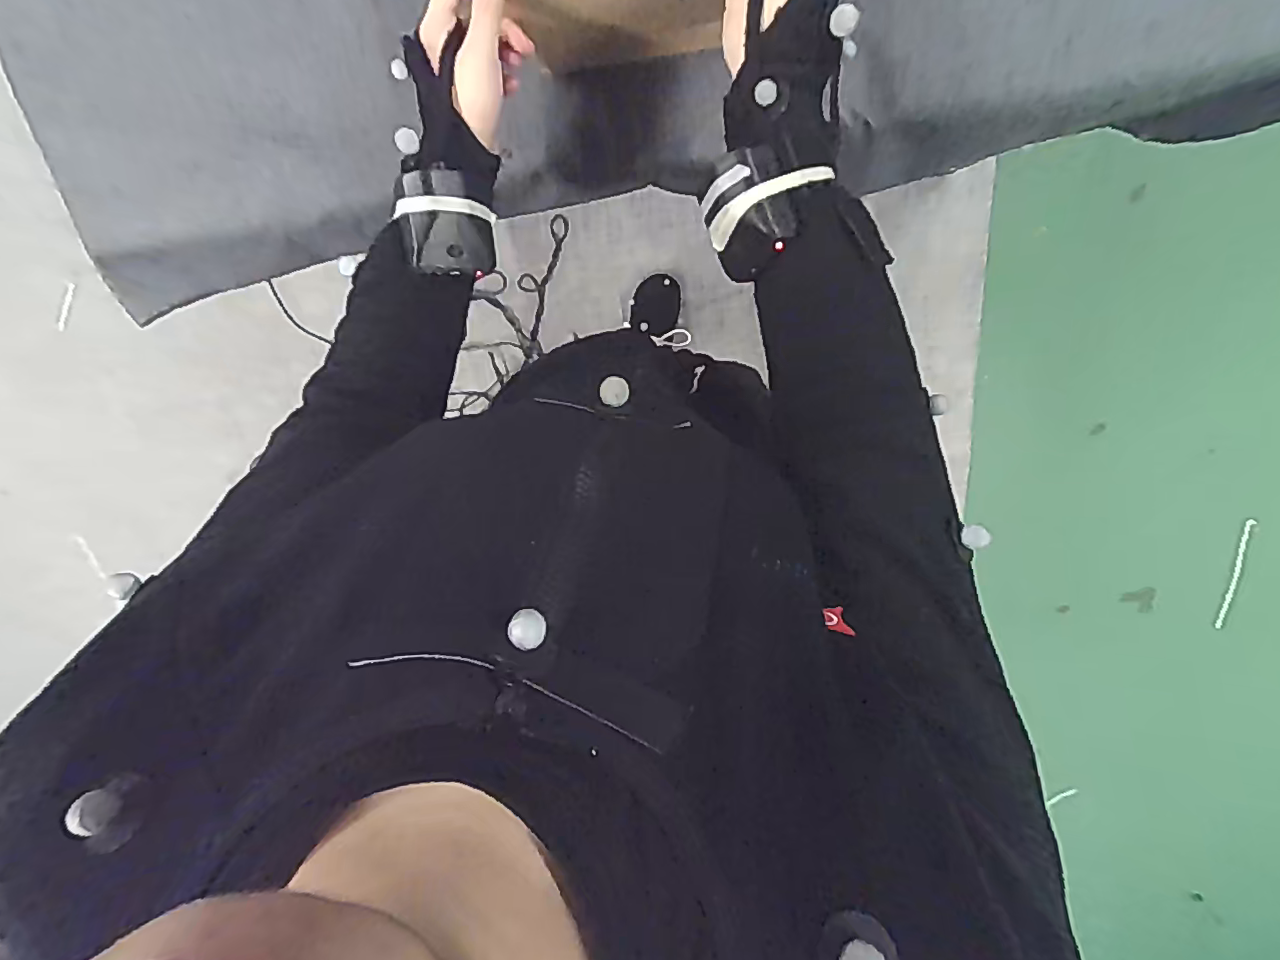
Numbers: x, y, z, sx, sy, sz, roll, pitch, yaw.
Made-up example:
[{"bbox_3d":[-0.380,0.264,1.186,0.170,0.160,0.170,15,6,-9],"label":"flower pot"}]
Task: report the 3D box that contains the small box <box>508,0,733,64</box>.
[{"bbox_3d":[-0.021,-0.426,0.378,0.179,0.176,0.168,-5,110,6],"label":"small box"}]
